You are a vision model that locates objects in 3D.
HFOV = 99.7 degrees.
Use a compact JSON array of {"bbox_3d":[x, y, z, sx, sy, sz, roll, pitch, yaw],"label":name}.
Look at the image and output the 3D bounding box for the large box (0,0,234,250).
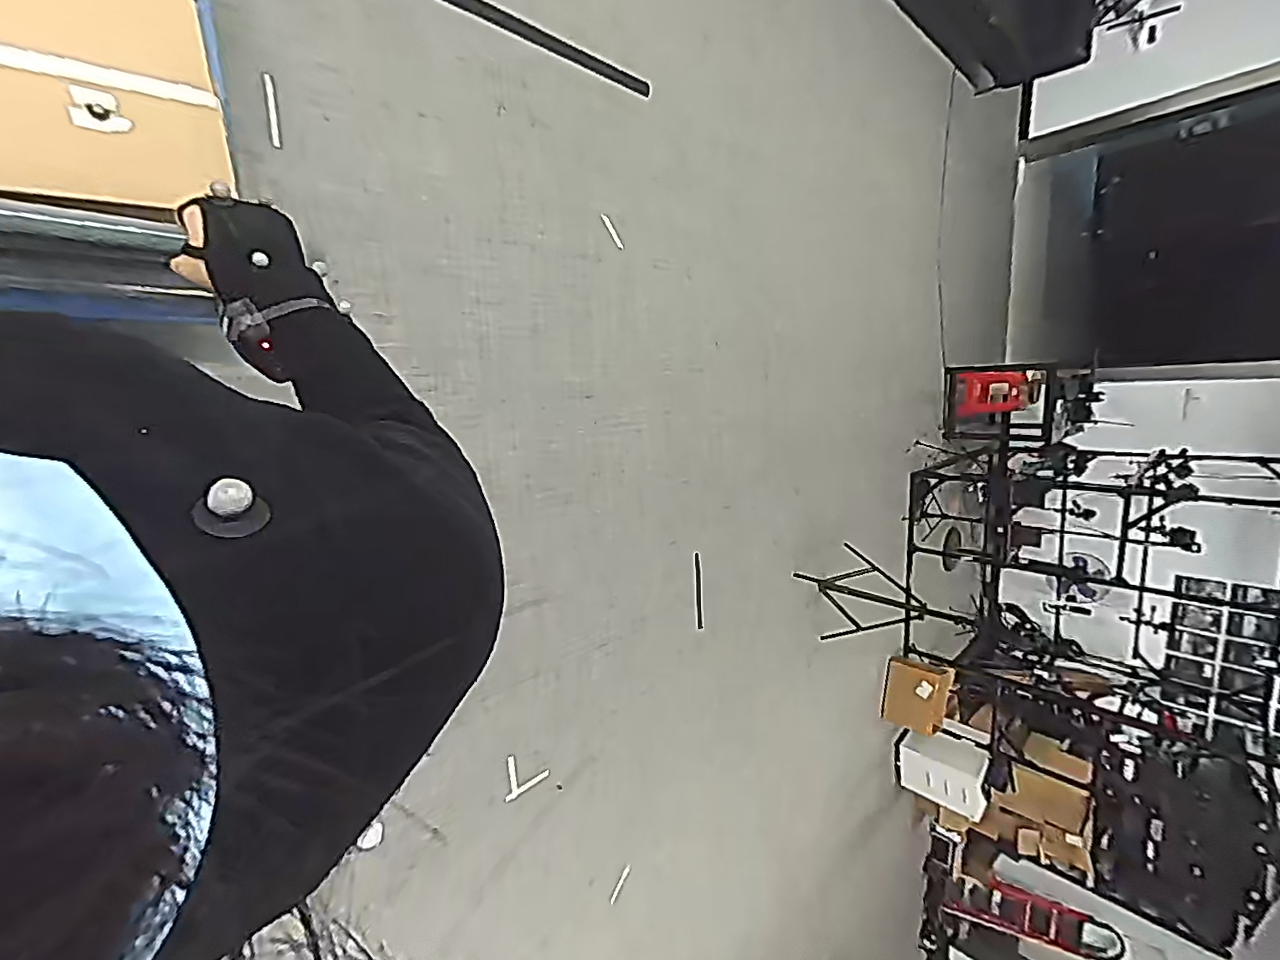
[{"bbox_3d":[-0.882,-0.535,0.769,0.408,0.320,0.320,-16,107,-44],"label":"large box"}]
